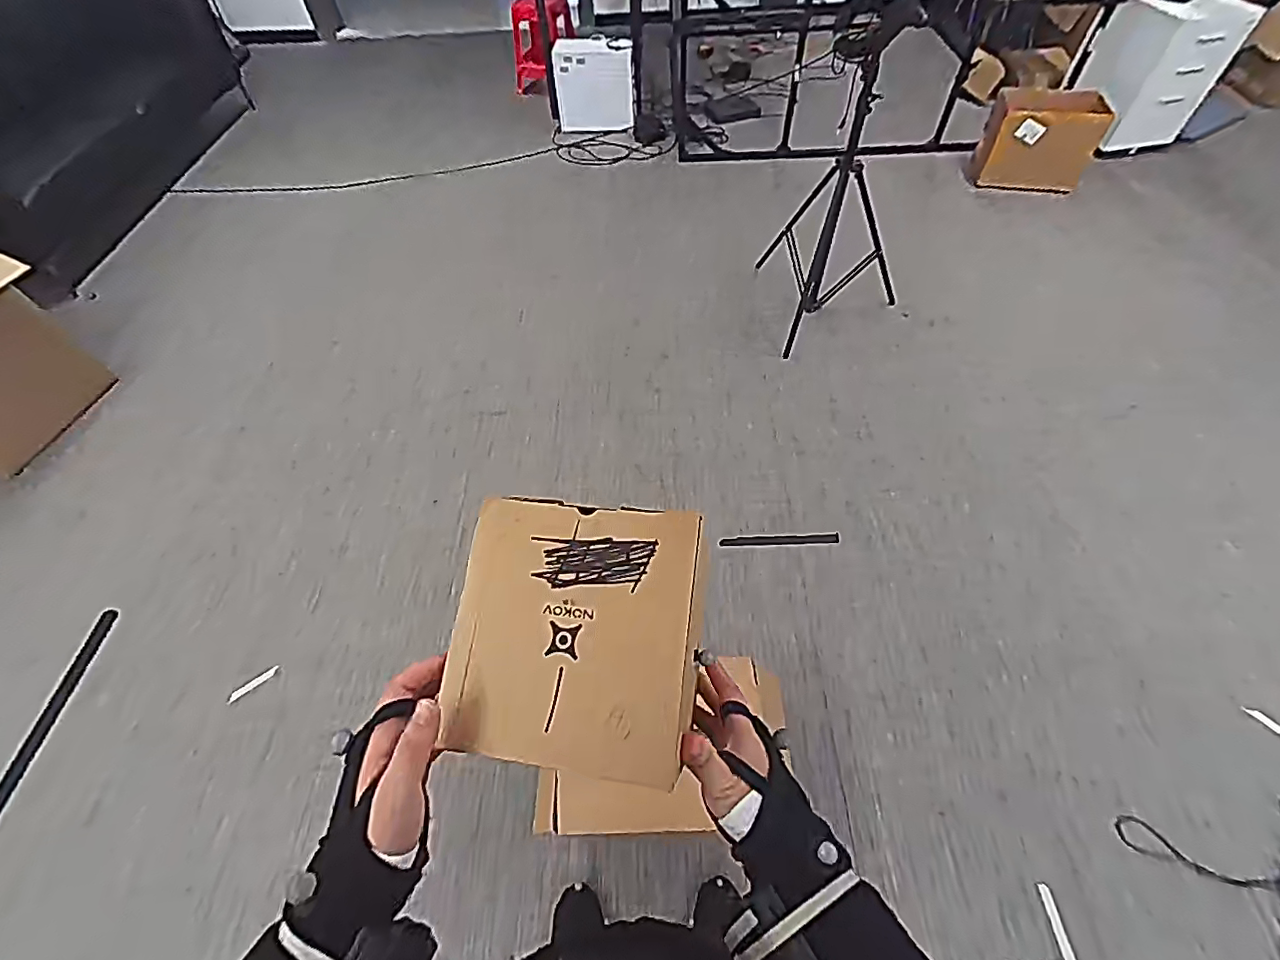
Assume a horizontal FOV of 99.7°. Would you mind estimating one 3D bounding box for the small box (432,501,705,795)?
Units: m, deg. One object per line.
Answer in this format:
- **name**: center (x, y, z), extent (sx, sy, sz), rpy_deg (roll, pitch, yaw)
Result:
- **small box**: center (-0.037, 0.128, 0.446), extent (0.168, 0.176, 0.179), rpy_deg (5, 74, 11)
